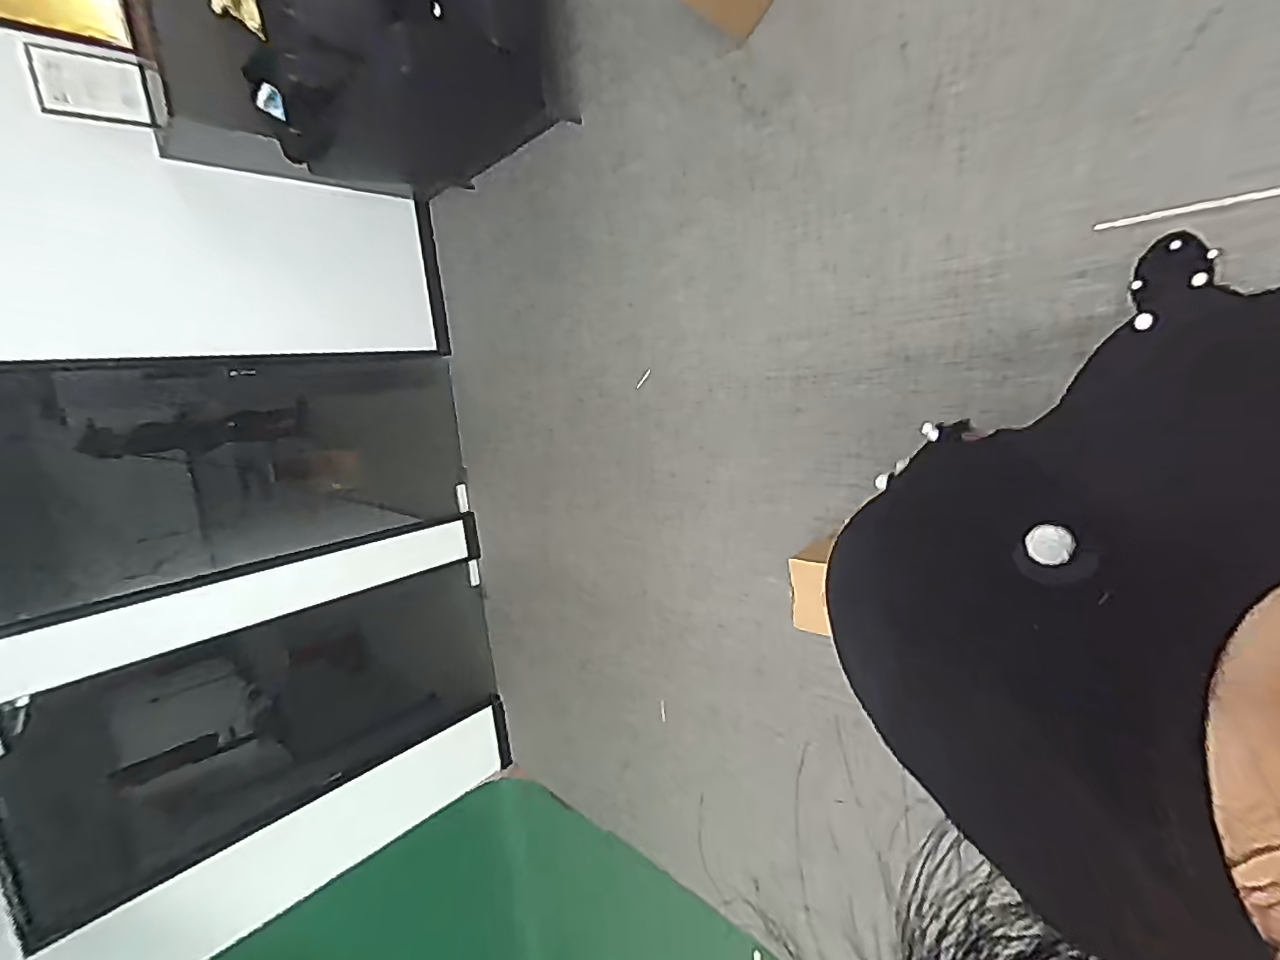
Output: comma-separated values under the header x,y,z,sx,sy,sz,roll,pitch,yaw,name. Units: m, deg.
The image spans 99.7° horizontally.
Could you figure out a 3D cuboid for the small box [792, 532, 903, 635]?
x,y,z,sx,sy,sz,roll,pitch,yaw,name
0.460,0.218,1.197,0.179,0.176,0.168,3,104,45,small box
